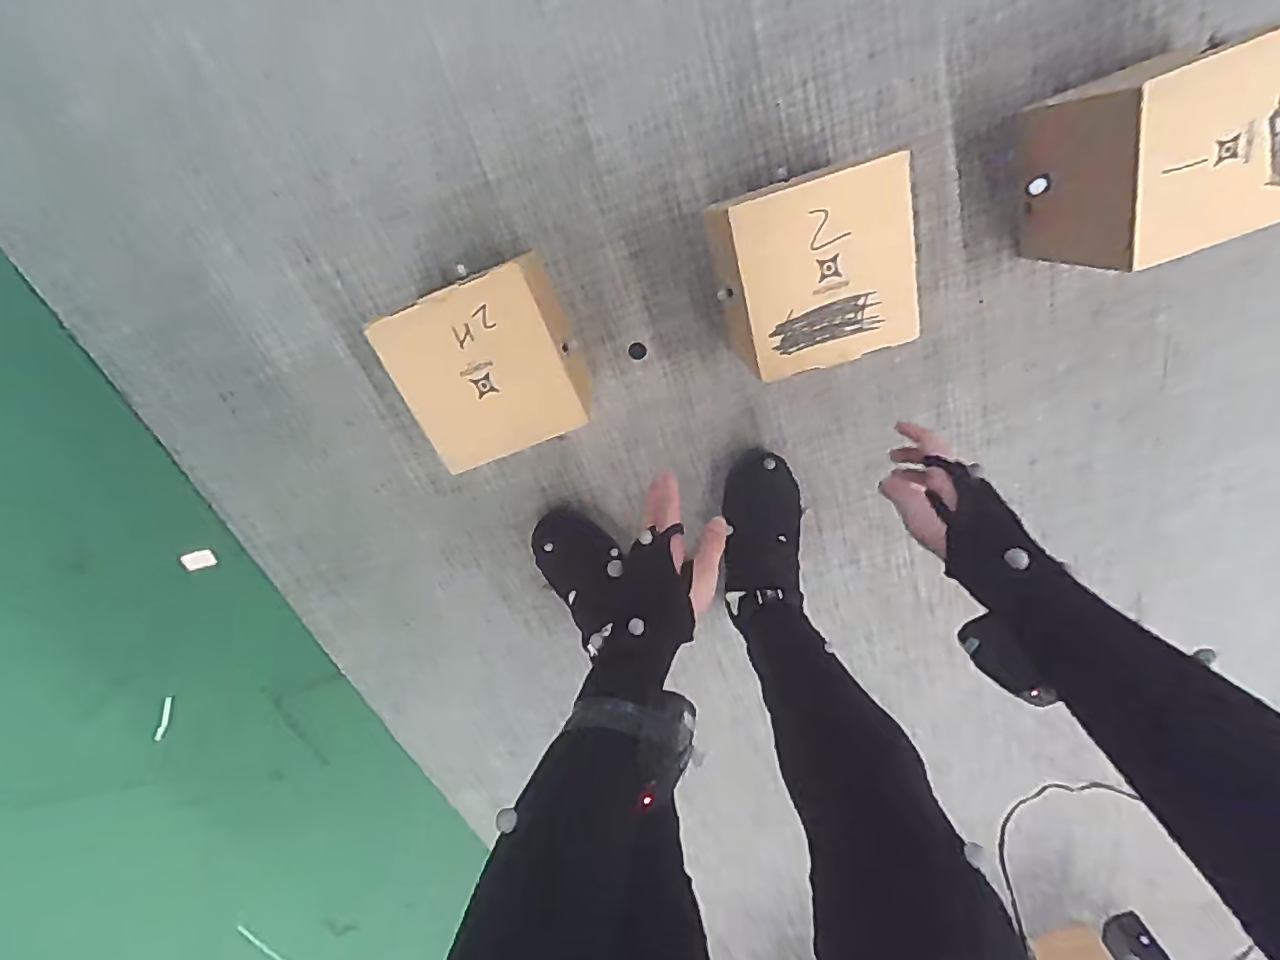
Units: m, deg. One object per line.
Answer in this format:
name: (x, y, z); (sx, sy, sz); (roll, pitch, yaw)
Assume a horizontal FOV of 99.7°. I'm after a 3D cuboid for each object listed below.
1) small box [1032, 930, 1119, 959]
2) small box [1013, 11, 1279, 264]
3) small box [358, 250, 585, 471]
small box: (1.160, 1.307, 1.397); (0.179, 0.176, 0.168); (-20, 116, 7)
small box: (0.521, -0.338, 0.547); (0.179, 0.176, 0.168); (-19, 115, 7)
small box: (-0.168, -0.142, 0.613); (0.168, 0.176, 0.179); (-20, 115, 7)
